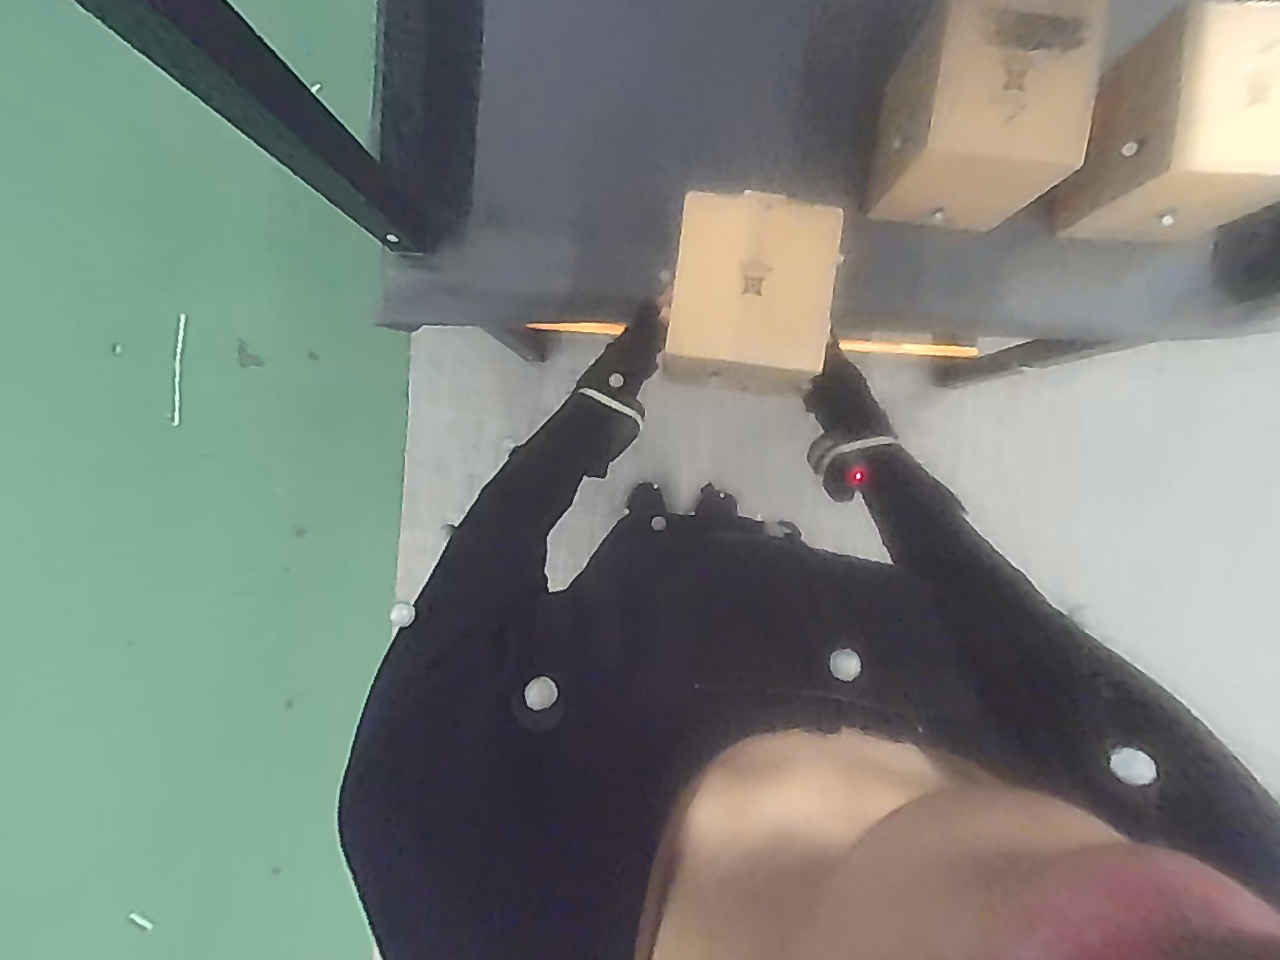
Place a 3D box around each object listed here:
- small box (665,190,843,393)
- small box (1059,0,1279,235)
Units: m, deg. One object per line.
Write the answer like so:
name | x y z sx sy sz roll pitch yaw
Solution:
small box | 0.122 -0.207 0.641 0.168 0.176 0.179 7 89 2
small box | 0.640 -0.409 0.638 0.168 0.176 0.179 3 91 2
